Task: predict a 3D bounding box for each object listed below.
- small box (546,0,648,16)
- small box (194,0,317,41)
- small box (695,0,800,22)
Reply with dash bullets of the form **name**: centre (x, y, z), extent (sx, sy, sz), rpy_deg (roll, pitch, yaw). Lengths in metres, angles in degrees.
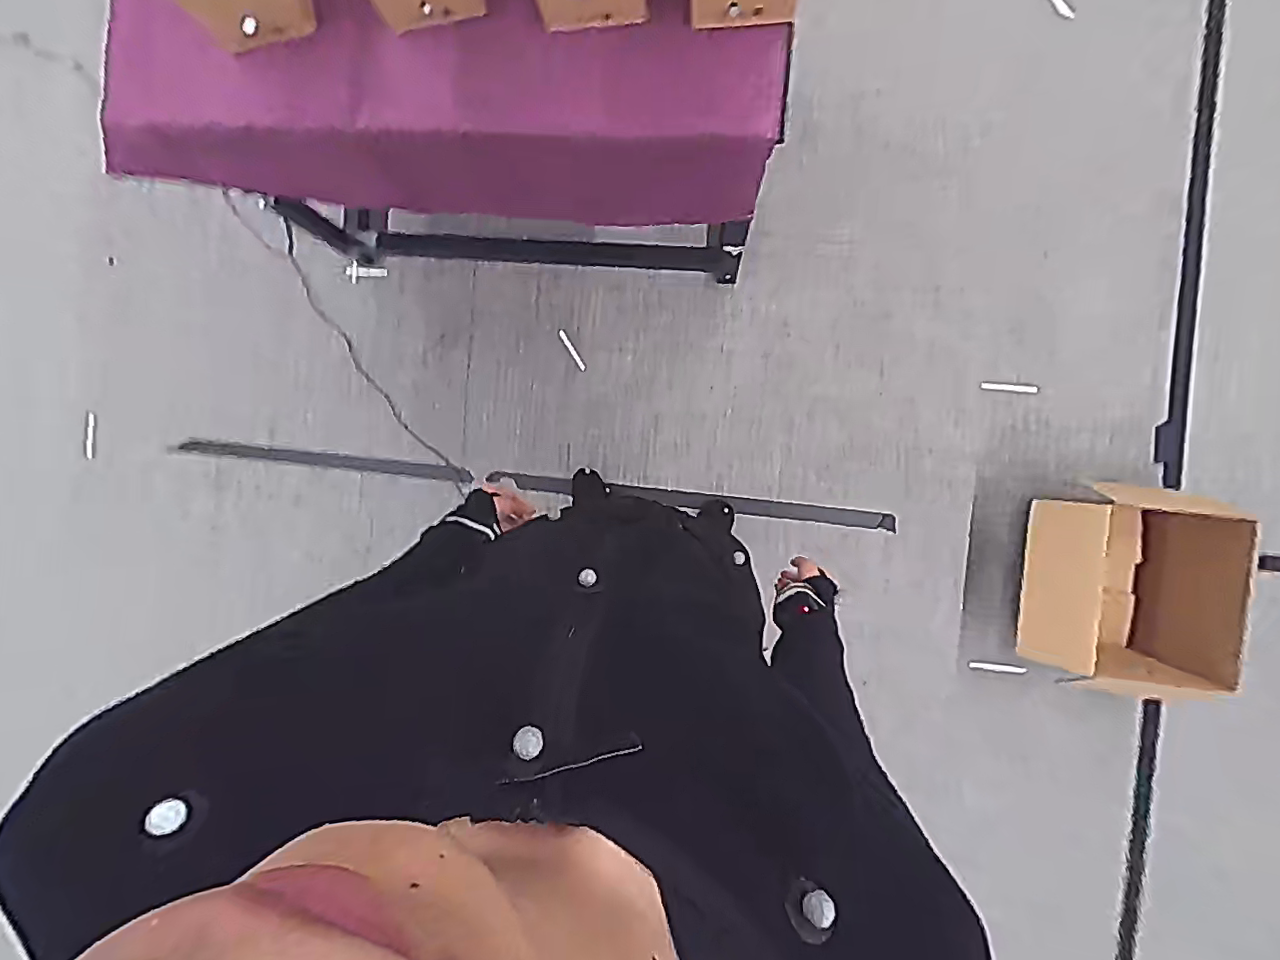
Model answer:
- **small box**: centre (-0.076, -0.835, 0.800), extent (0.168, 0.176, 0.179), rpy_deg (-1, 91, 5)
- **small box**: centre (-0.647, -0.851, 0.849), extent (0.168, 0.176, 0.179), rpy_deg (-8, 92, 5)
- **small box**: centre (0.162, -0.818, 0.779), extent (0.168, 0.176, 0.179), rpy_deg (1, 91, 7)
